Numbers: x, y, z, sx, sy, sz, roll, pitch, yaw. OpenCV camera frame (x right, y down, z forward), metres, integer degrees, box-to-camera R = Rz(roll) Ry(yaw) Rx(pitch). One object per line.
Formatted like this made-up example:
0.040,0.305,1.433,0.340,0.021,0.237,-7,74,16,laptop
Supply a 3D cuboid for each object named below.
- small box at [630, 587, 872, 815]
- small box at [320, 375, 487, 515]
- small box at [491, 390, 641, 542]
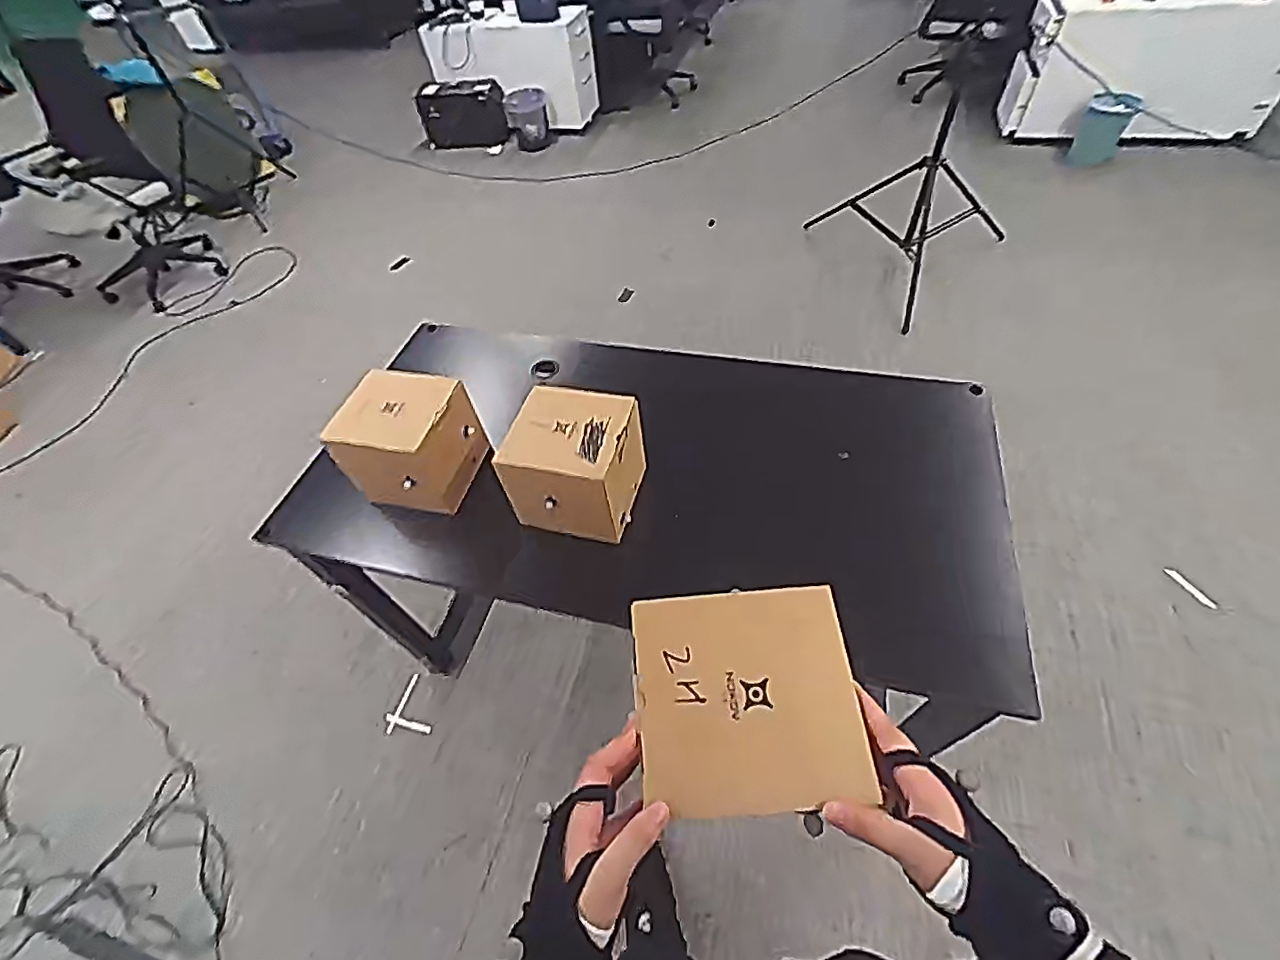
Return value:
0.085,0.208,0.504,0.179,0.176,0.168,-5,60,2,small box
-0.389,-0.057,0.930,0.179,0.176,0.168,7,53,12,small box
-0.103,-0.019,0.867,0.179,0.176,0.168,9,54,14,small box
